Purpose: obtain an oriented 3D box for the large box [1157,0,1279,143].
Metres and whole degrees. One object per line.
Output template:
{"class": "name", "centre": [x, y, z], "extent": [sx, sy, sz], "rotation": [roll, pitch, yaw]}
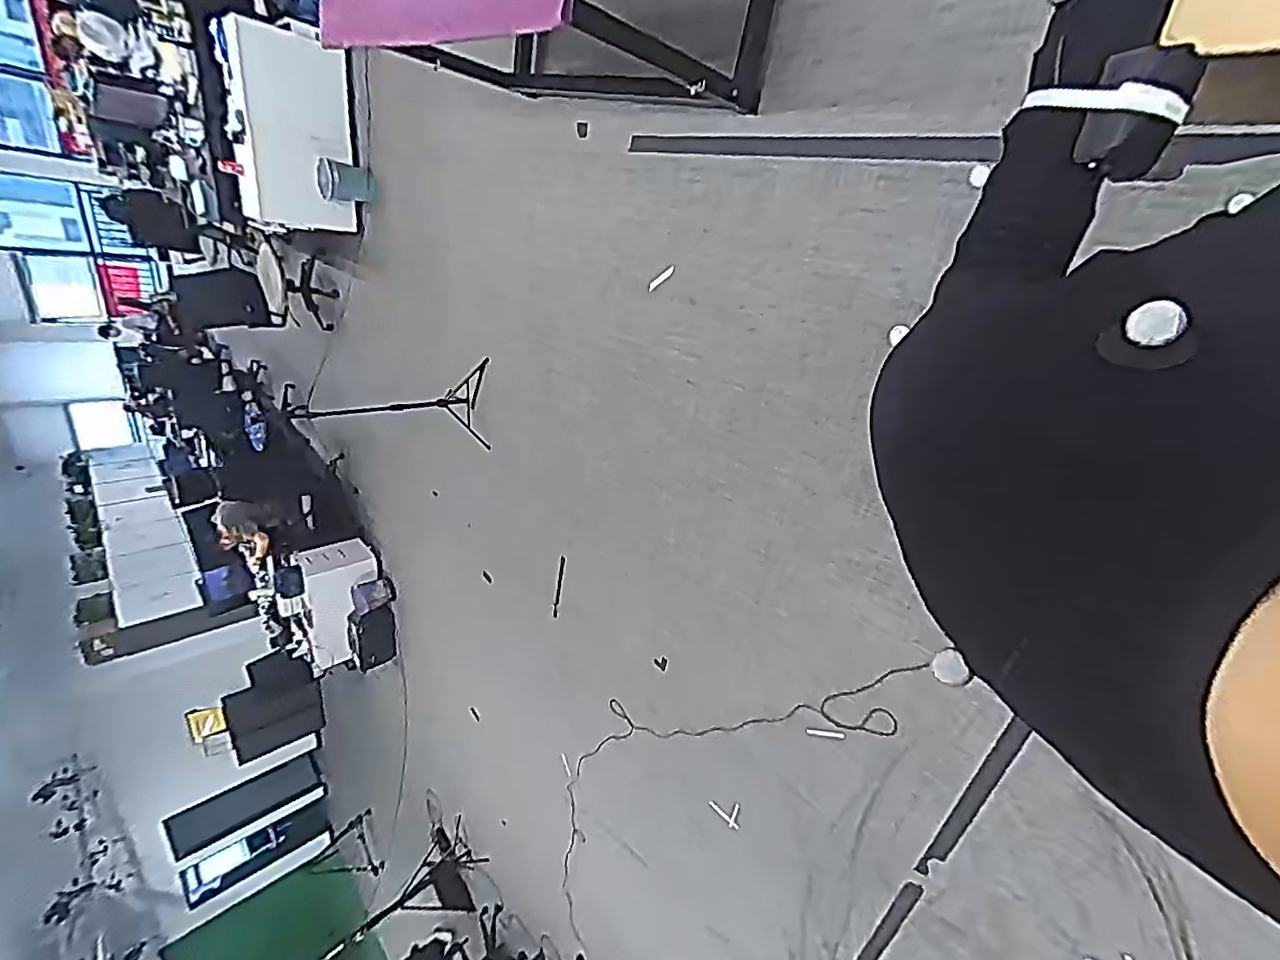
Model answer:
{"class": "large box", "centre": [0.584, -0.374, 0.272], "extent": [0.408, 0.320, 0.320], "rotation": [24, 124, 35]}
